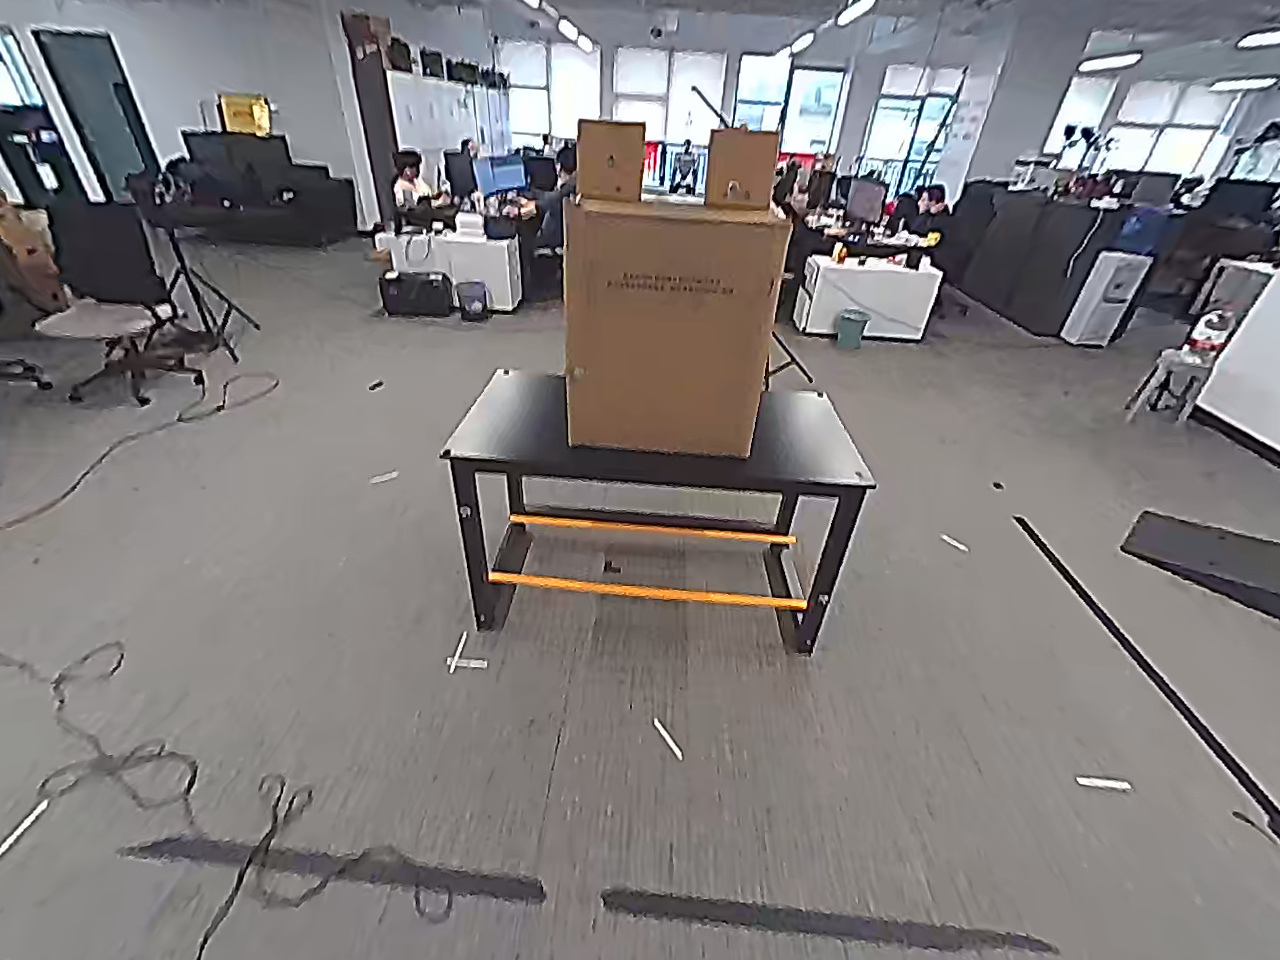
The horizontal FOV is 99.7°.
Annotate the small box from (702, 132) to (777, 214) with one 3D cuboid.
[{"bbox_3d":[0.245,-0.780,1.372,0.168,0.176,0.179,3,33,4],"label":"small box"}]

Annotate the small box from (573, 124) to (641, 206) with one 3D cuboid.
[{"bbox_3d":[-0.082,-0.806,1.385,0.168,0.176,0.179,2,33,-3],"label":"small box"}]
